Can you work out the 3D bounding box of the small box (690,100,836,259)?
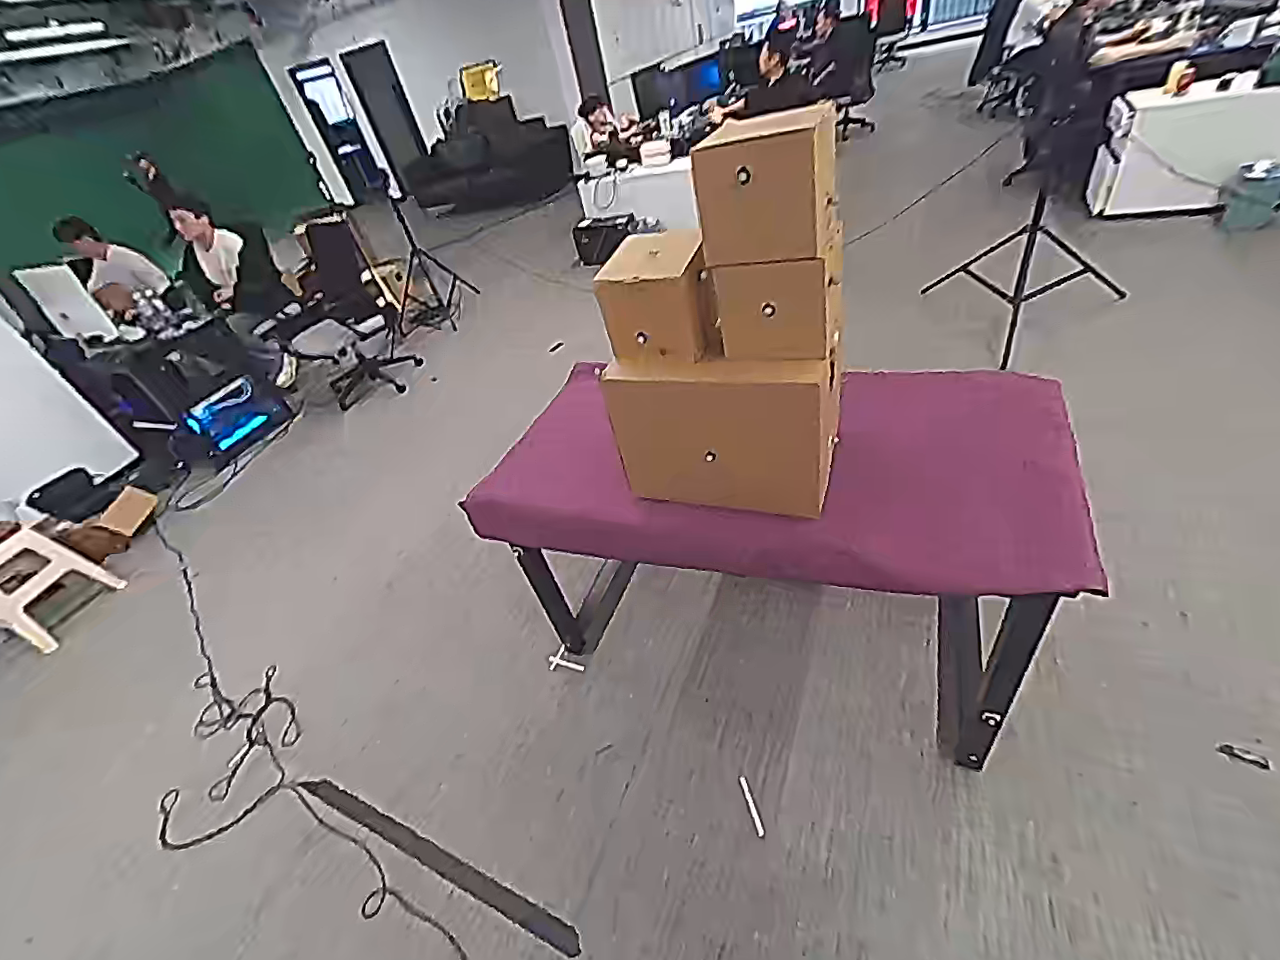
[{"bbox_3d":[0.196,-0.450,0.824,0.179,0.176,0.168,6,44,26],"label":"small box"}]
